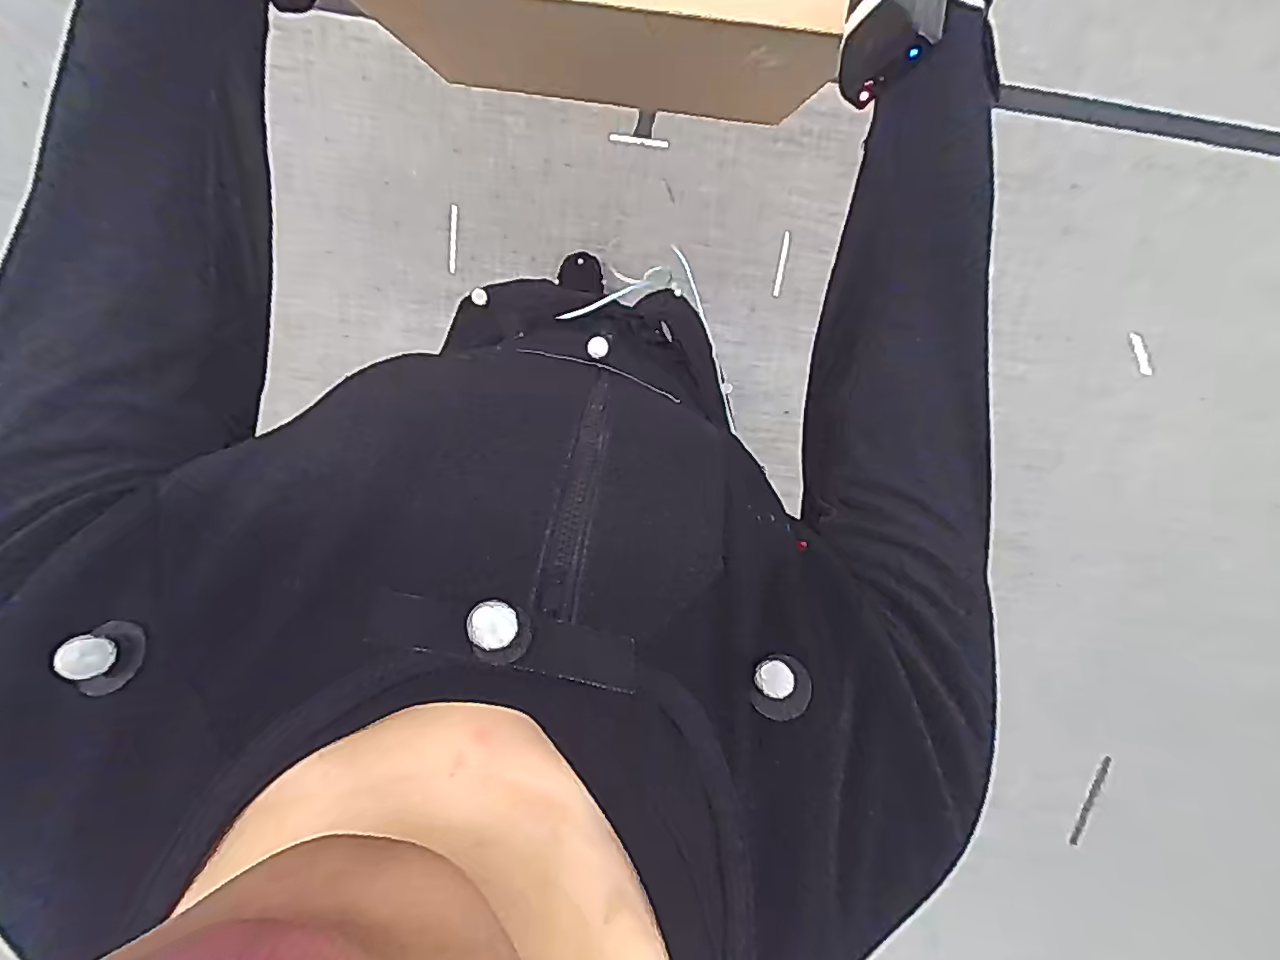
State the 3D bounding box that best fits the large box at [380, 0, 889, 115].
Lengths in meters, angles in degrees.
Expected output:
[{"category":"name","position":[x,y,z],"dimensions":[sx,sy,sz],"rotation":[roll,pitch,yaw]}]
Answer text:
[{"category":"large box","position":[-0.008,-0.542,0.458],"dimensions":[0.408,0.320,0.320],"rotation":[6,115,-3]}]
